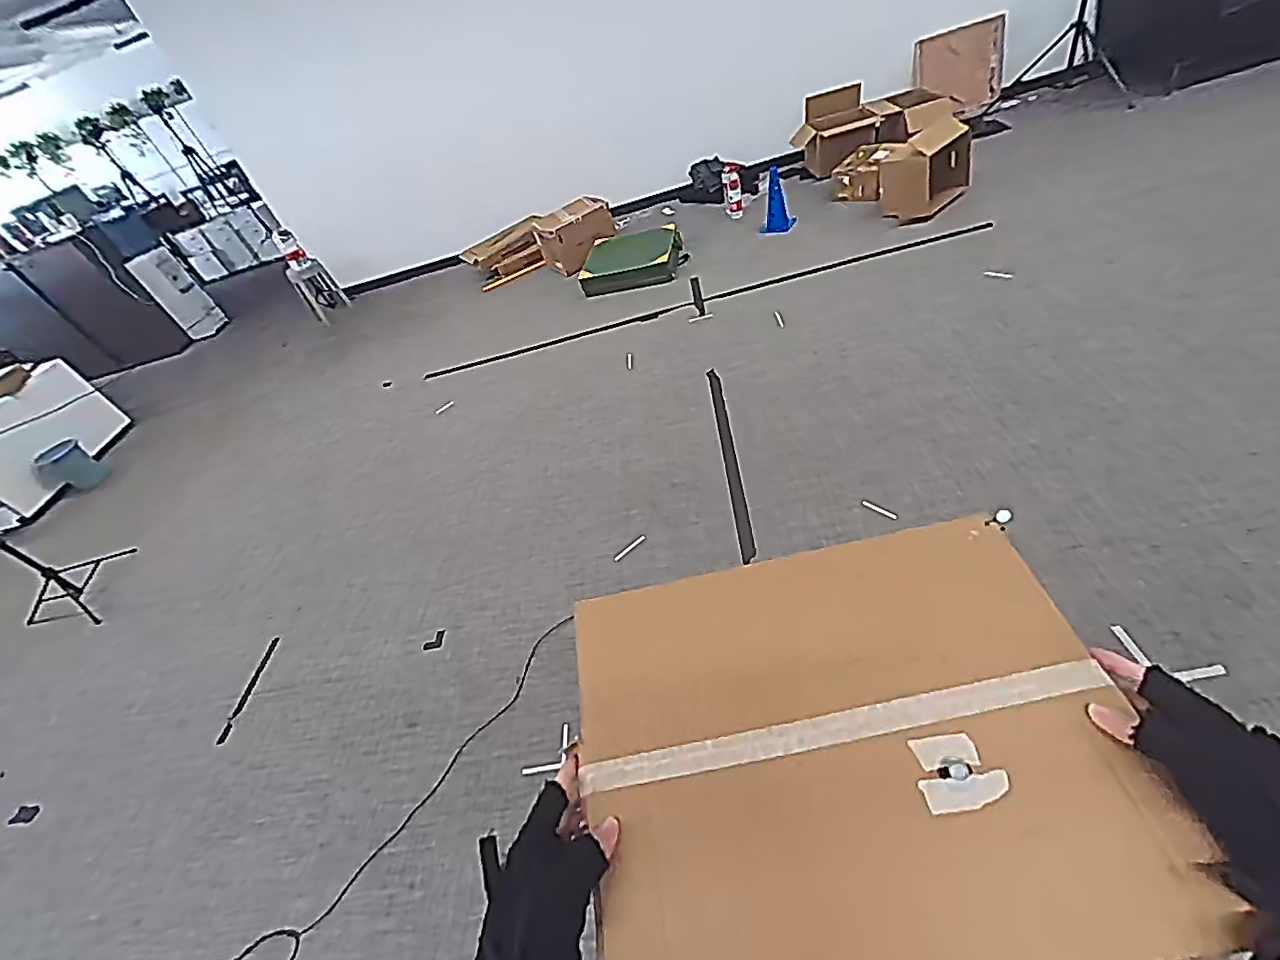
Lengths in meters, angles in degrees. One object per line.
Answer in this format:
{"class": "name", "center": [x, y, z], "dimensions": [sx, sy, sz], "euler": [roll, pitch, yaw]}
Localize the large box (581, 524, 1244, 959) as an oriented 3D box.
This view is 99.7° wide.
{"class": "large box", "center": [0.181, 0.296, 0.544], "dimensions": [0.408, 0.320, 0.320], "euler": [-13, 50, 3]}
